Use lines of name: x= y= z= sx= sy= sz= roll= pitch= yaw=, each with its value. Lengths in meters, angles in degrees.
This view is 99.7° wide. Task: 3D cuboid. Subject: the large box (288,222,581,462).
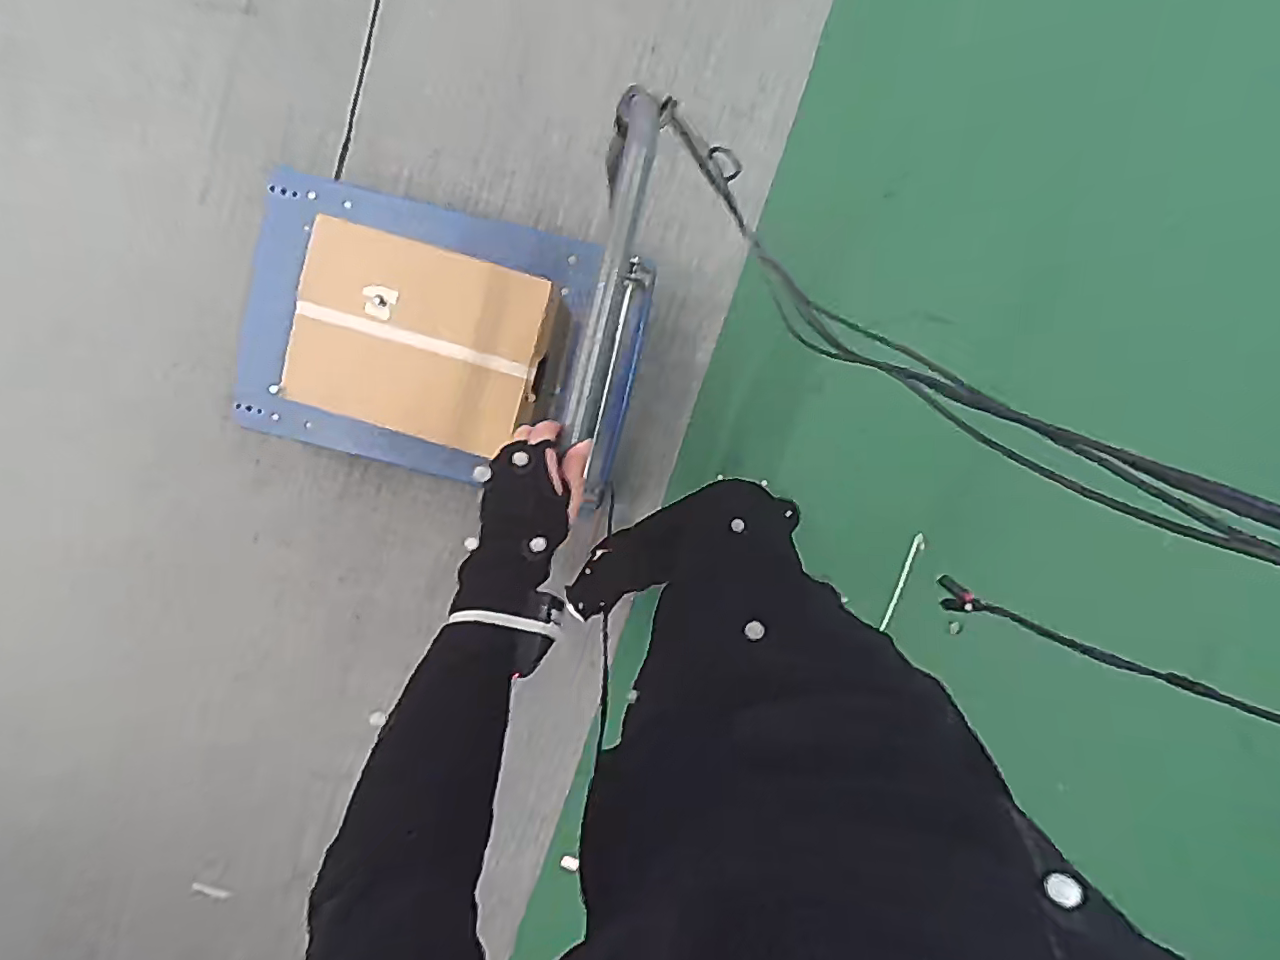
large box: x=-0.359 y=-0.240 z=1.040 sx=0.408 sy=0.320 sz=0.320 roll=16 pitch=95 yaw=0
